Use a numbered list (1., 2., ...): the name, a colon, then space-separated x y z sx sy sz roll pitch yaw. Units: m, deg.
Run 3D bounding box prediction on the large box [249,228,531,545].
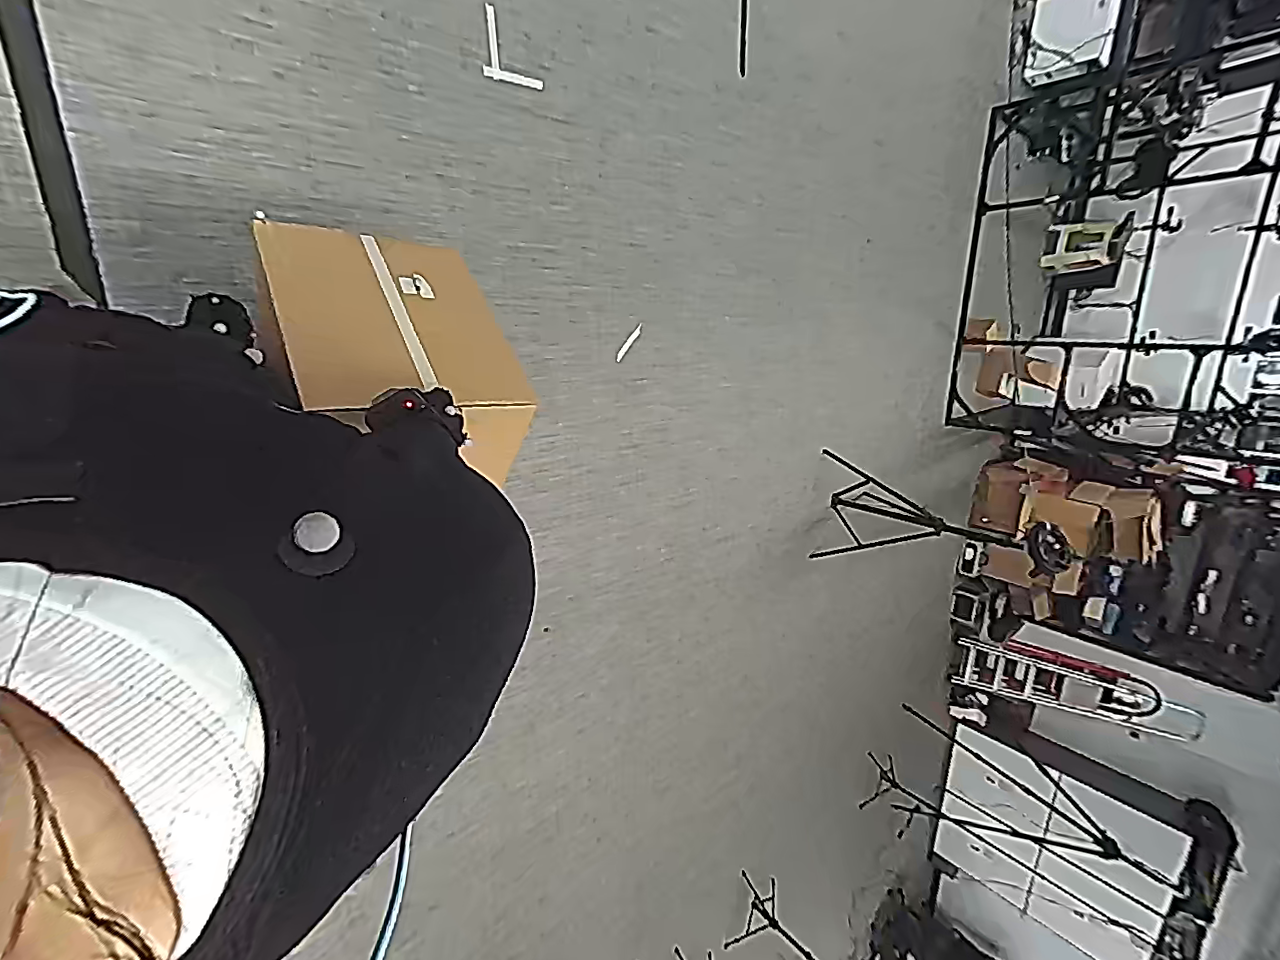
1. large box: -0.441 -0.157 0.924 0.320 0.408 0.320 -9 146 -40
